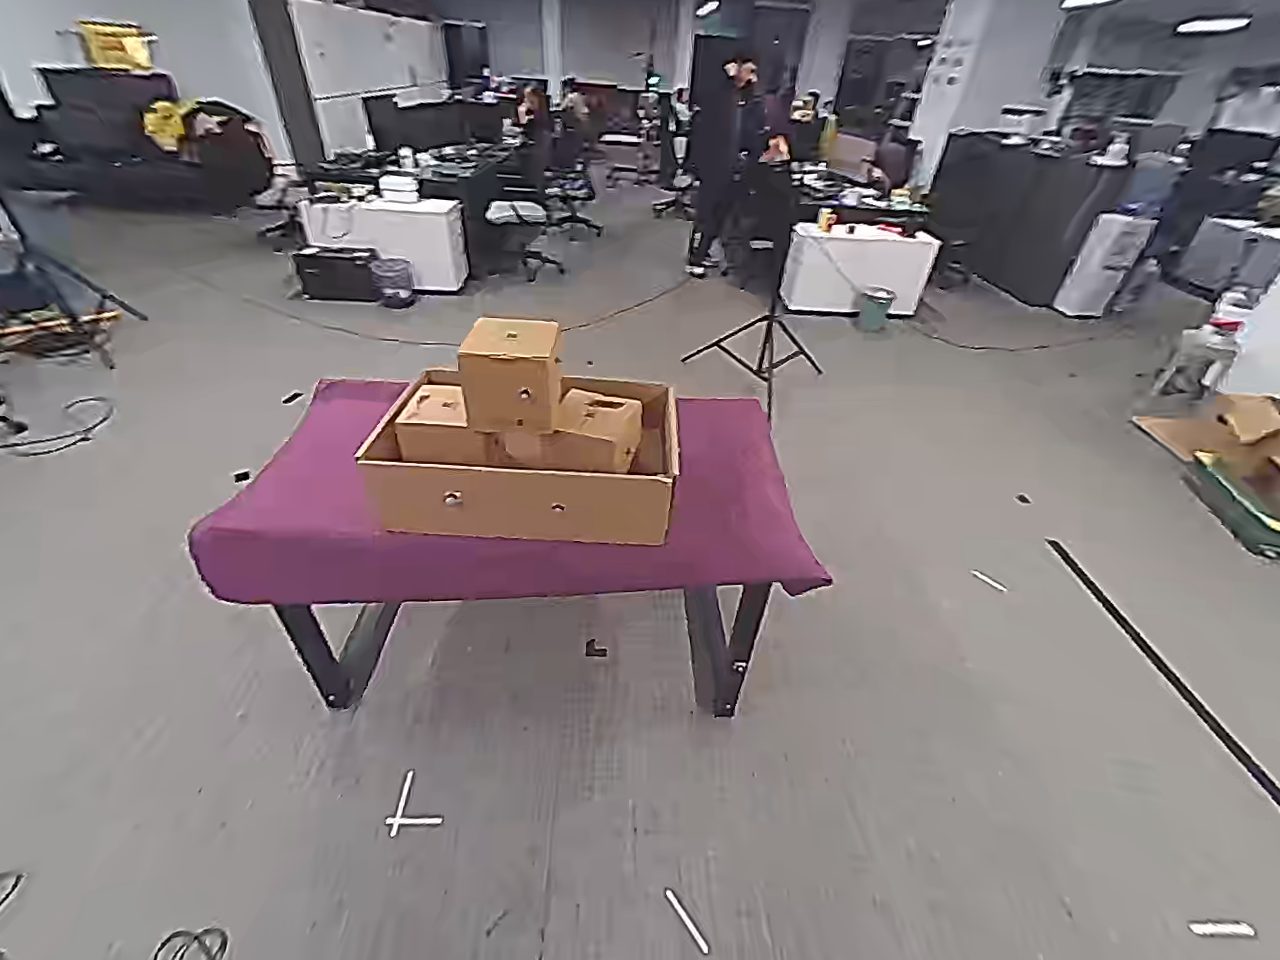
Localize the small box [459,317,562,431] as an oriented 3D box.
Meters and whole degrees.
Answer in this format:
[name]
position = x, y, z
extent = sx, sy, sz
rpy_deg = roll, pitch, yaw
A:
[small box]
position = -0.247, -0.211, 1.080
extent = 0.168, 0.176, 0.179
rpy_deg = 3, 36, -3
